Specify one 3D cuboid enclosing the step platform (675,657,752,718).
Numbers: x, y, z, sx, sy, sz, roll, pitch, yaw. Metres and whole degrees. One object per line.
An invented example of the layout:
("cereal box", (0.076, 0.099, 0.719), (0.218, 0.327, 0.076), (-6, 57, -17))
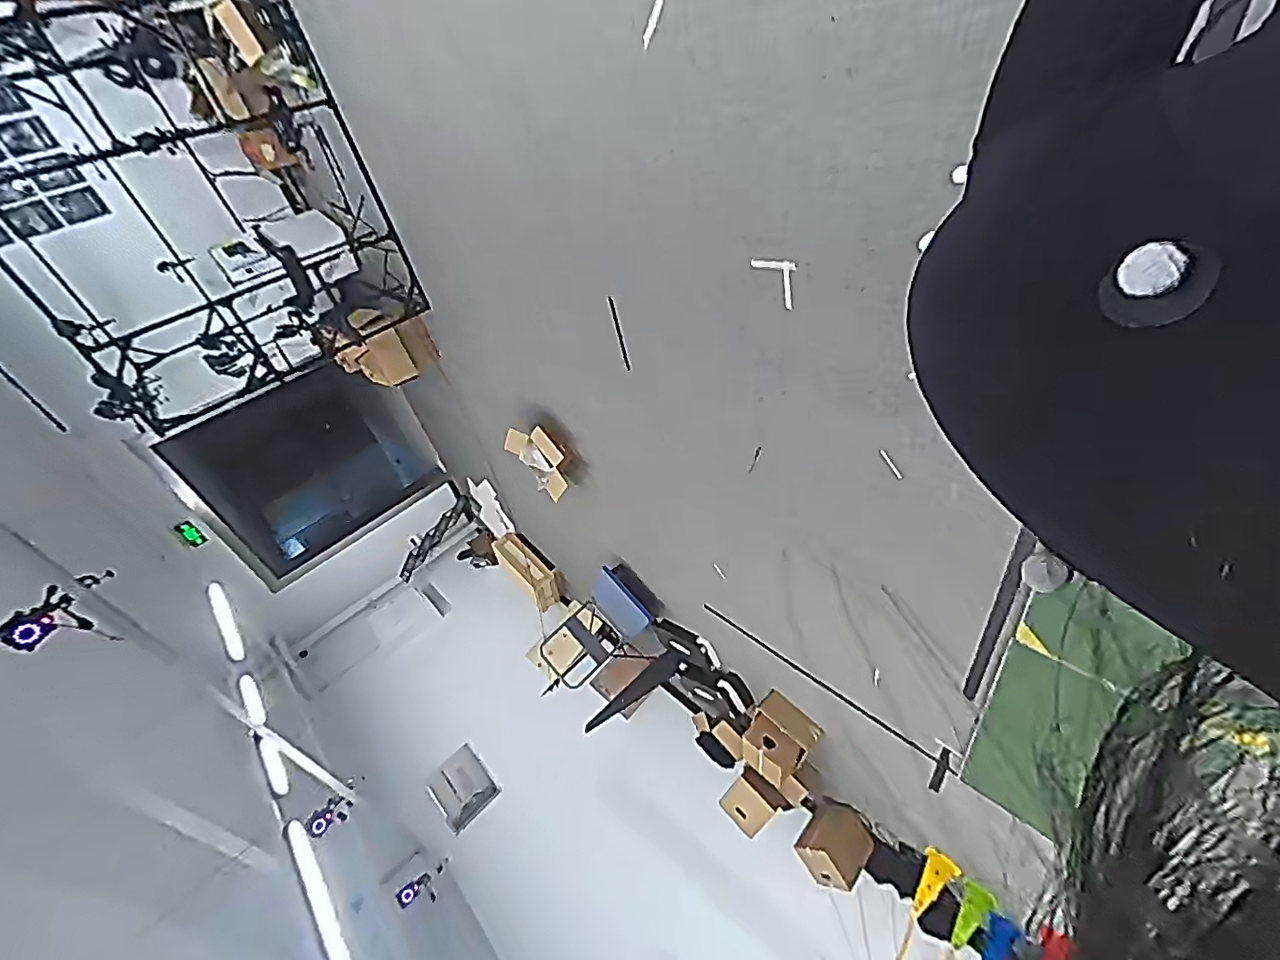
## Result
("step platform", (0.561, 1.634, 4.279), (0.286, 0.204, 0.684), (59, 152, -13))
